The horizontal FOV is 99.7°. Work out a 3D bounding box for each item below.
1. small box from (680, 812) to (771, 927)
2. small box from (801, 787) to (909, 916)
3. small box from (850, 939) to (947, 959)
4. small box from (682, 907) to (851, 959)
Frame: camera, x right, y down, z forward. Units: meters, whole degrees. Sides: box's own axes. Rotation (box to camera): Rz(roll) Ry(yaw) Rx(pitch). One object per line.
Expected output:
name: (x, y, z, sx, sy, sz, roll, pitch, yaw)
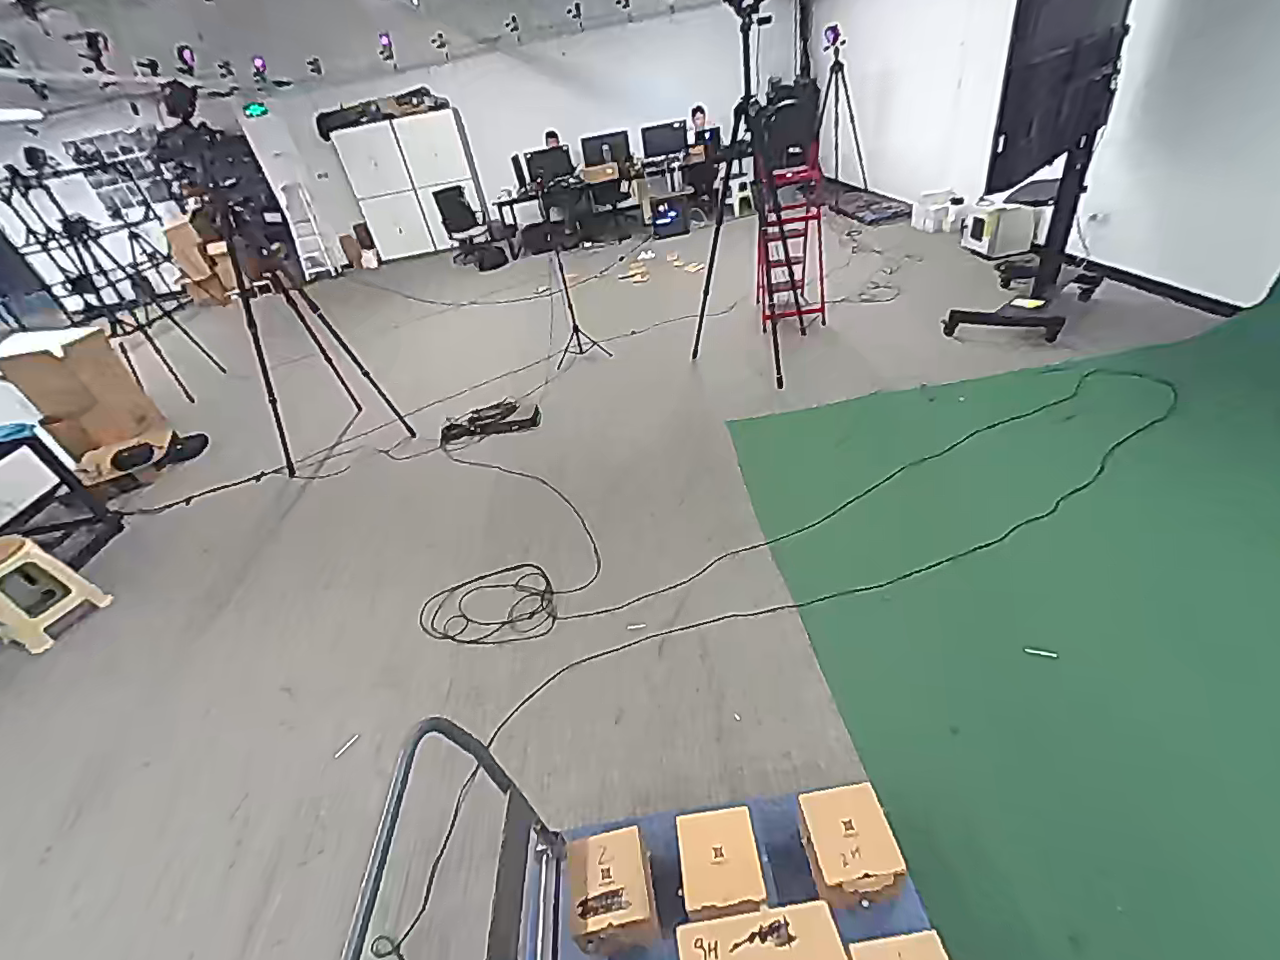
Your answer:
small box: (0.186, 0.870, 1.192, 0.168, 0.176, 0.179, -10, 36, 2)
small box: (0.460, 0.813, 1.184, 0.168, 0.176, 0.179, -12, 35, 2)
small box: (0.493, 0.976, 0.977, 0.168, 0.176, 0.179, -11, 34, 1)
small box: (0.140, 0.574, 0.536, 0.168, 0.176, 0.179, -7, 29, -3)
